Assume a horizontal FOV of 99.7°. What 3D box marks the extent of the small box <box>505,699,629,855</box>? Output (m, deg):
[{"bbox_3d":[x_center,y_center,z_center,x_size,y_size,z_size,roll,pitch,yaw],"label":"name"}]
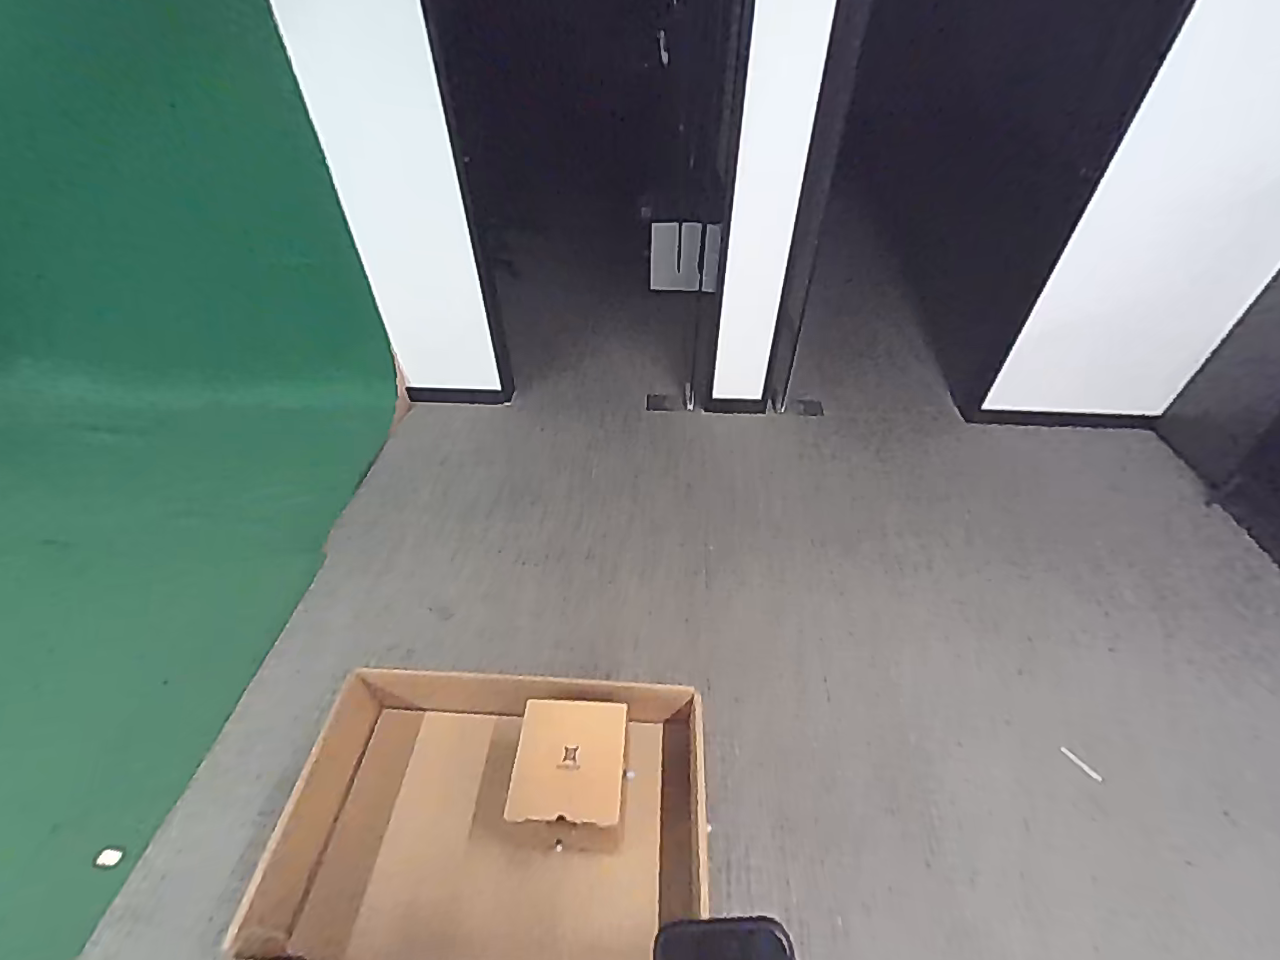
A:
[{"bbox_3d":[-0.106,0.478,0.874,0.168,0.176,0.179,1,45,3],"label":"small box"}]
